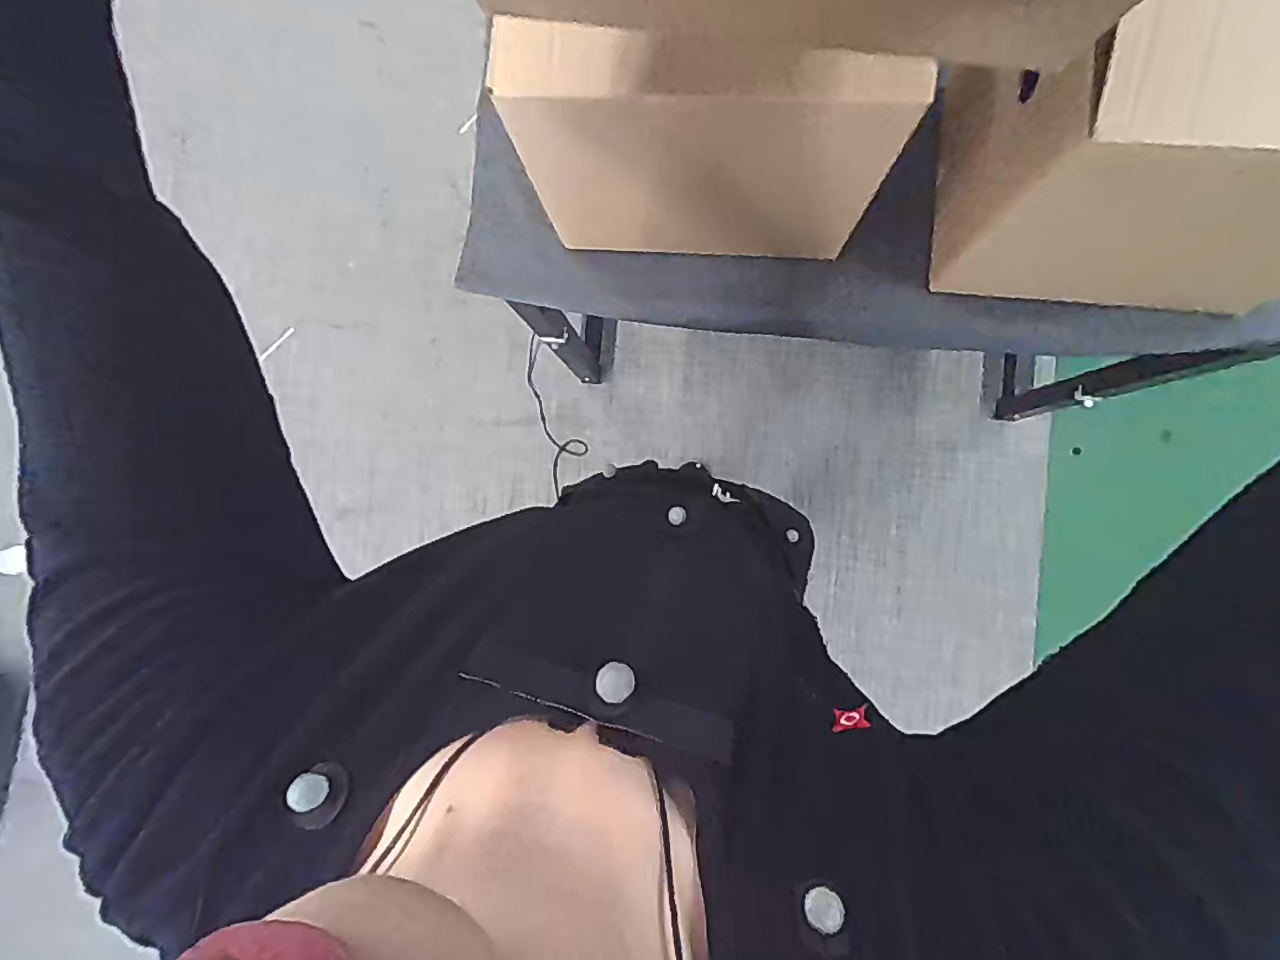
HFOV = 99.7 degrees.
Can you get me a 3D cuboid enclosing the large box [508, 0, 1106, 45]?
[{"bbox_3d":[0.086,-0.422,0.193,0.408,0.320,0.320,9,107,4],"label":"large box"}]
